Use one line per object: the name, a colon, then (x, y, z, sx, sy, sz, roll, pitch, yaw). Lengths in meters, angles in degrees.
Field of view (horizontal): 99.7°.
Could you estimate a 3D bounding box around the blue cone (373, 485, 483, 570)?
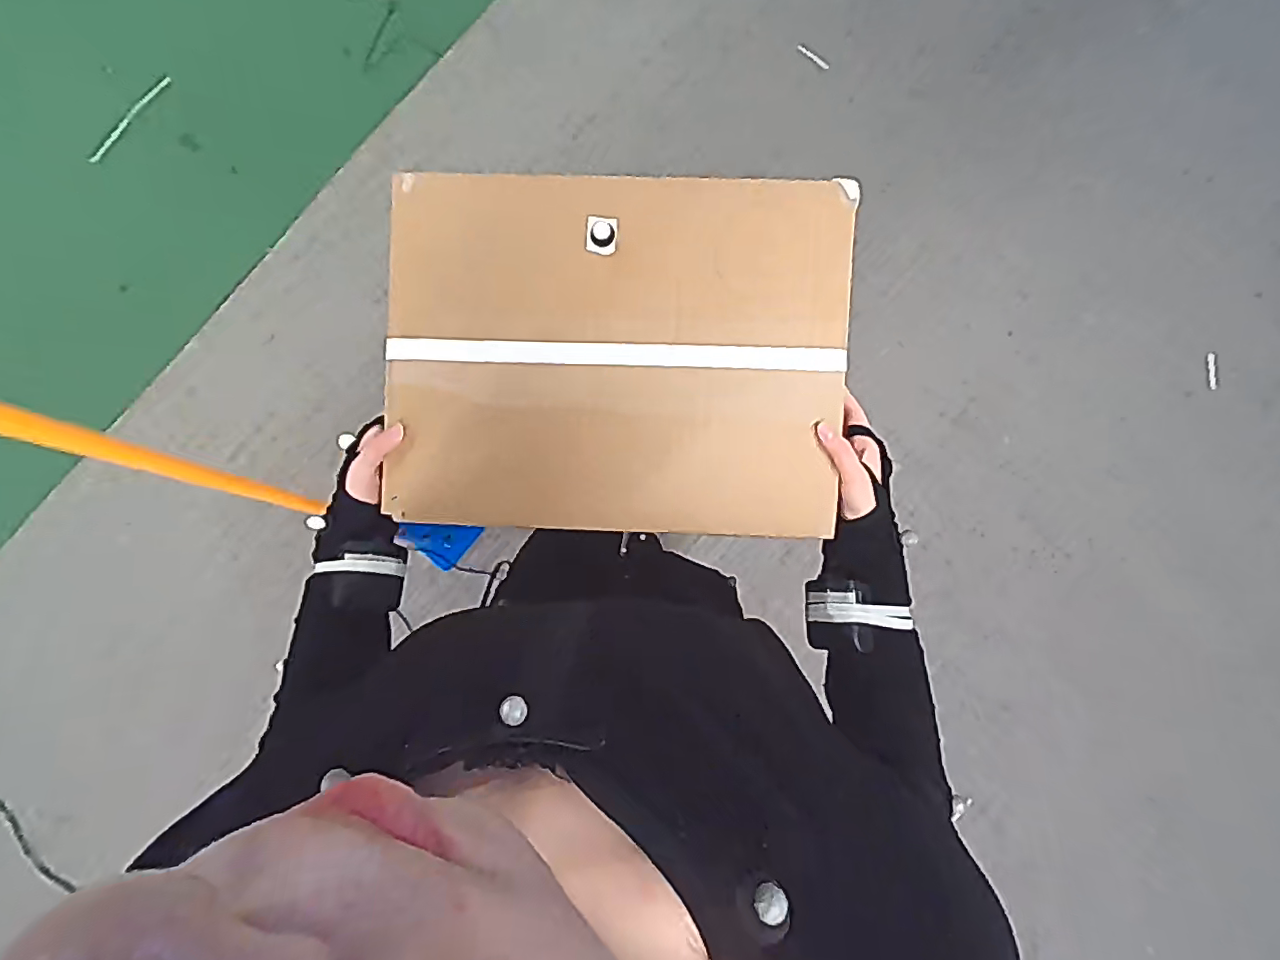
blue cone: (-0.562, 0.114, 1.349, 0.192, 0.380, 0.193, 38, 87, 5)
